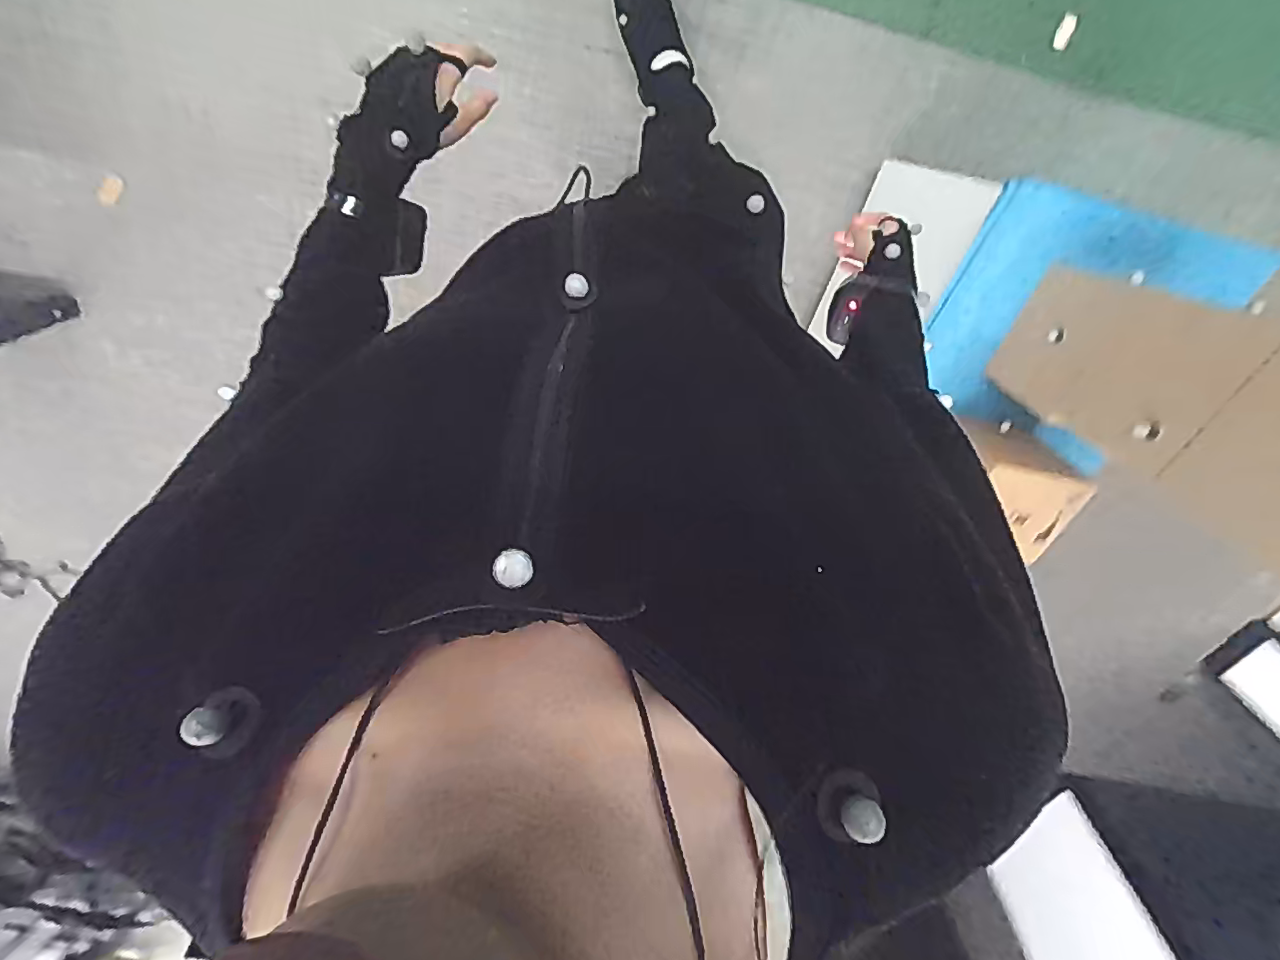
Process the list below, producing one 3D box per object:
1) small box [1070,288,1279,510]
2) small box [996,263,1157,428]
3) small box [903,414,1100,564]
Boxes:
[{"bbox_3d":[0.652,-0.095,0.619,0.168,0.176,0.179,10,124,-9],"label":"small box"},{"bbox_3d":[0.648,-0.181,0.759,0.168,0.176,0.179,10,124,-9],"label":"small box"},{"bbox_3d":[0.573,0.009,0.890,0.179,0.176,0.168,11,124,-8],"label":"small box"}]
